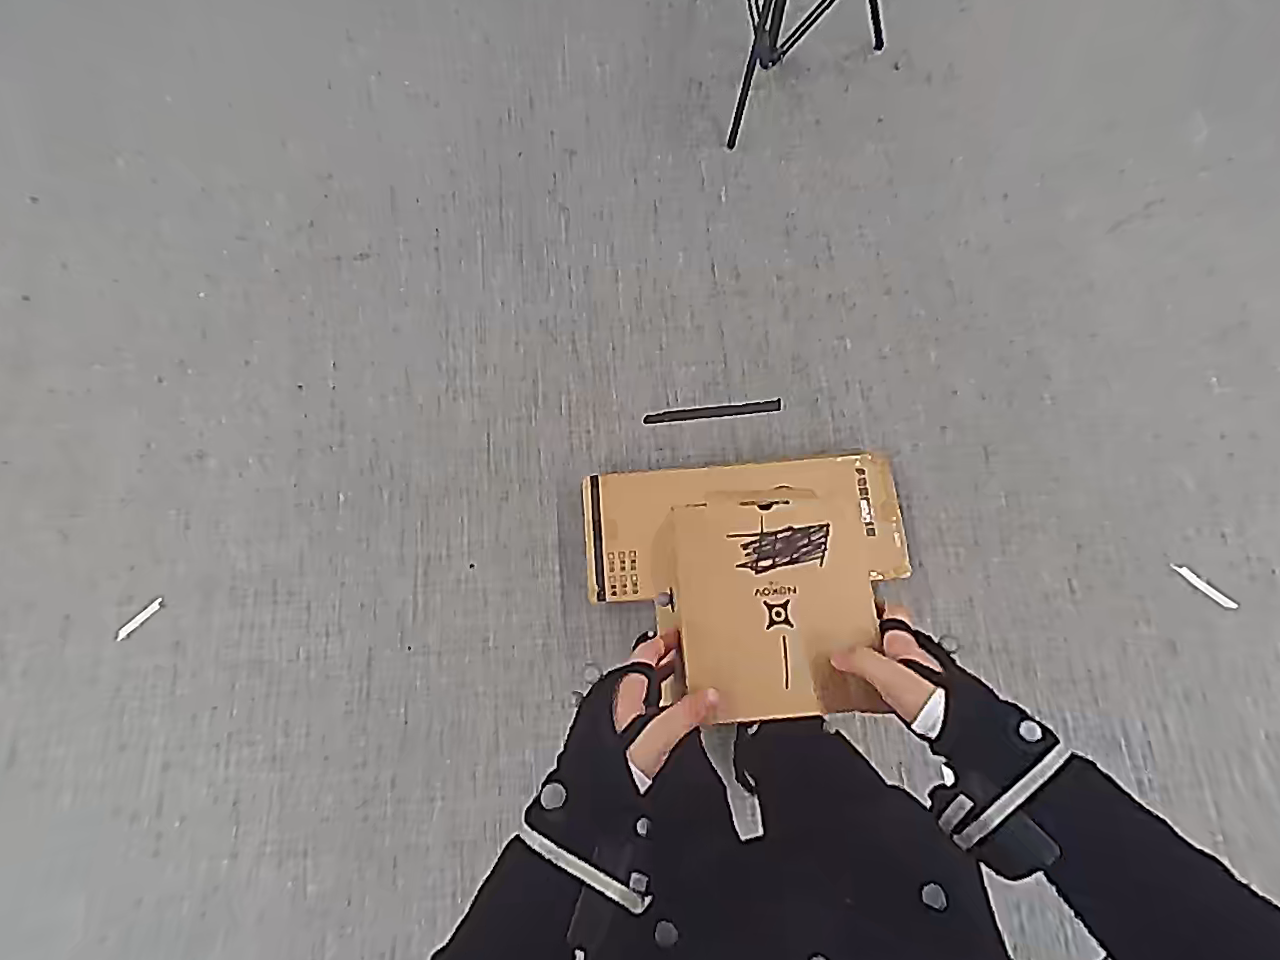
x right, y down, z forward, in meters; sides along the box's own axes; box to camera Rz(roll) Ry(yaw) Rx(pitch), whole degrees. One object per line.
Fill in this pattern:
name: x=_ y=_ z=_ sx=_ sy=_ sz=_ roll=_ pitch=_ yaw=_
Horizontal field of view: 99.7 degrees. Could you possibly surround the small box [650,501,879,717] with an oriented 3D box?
small box: x=0.102 y=0.127 z=0.532 sx=0.168 sy=0.176 sz=0.179 roll=-2 pitch=73 yaw=-5
